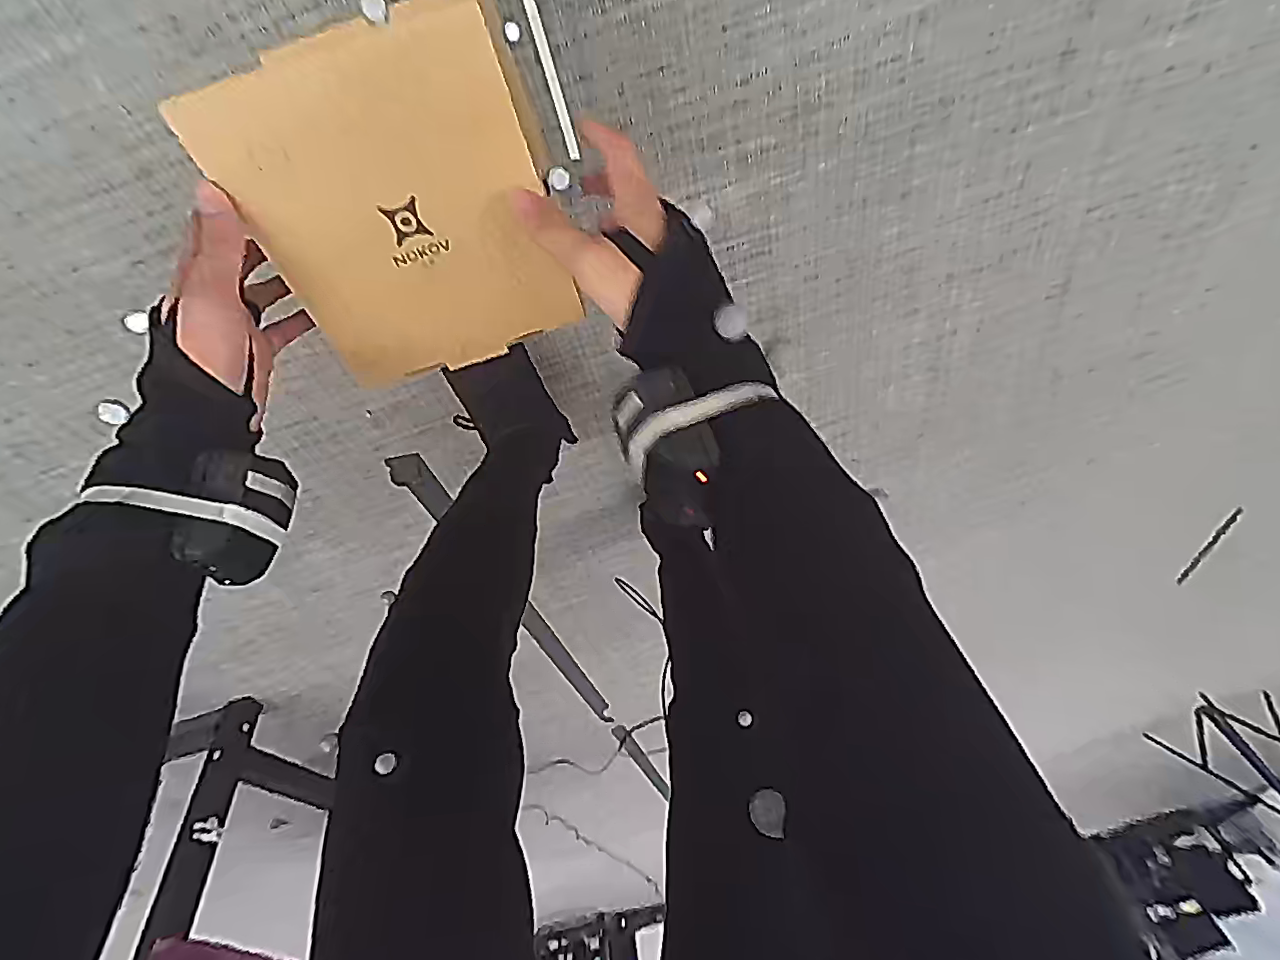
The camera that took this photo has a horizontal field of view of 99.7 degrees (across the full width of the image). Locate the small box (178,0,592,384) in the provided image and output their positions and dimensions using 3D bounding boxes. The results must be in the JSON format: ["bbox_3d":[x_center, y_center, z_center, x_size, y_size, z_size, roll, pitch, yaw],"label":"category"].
[{"bbox_3d":[-0.145,-0.202,0.374,0.168,0.176,0.179,-18,135,1],"label":"small box"}]
